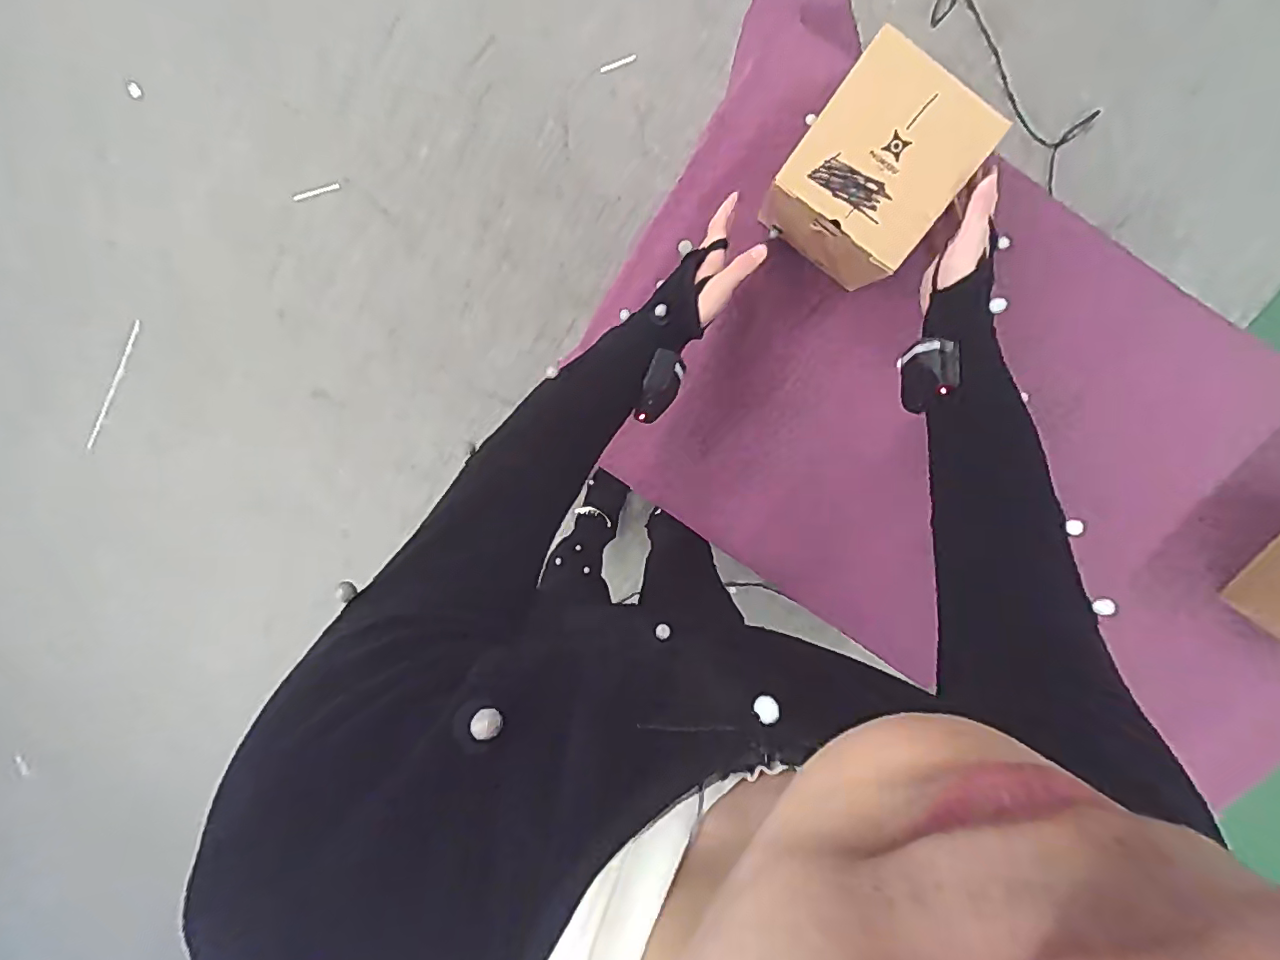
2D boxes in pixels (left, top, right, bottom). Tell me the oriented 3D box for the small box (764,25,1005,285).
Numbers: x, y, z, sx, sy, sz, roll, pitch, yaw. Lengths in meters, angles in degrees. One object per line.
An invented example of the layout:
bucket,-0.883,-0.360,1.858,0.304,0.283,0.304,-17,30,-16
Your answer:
small box,0.263,-0.355,0.636,0.168,0.176,0.179,37,103,-3

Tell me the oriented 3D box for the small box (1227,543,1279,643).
small box,0.928,0.157,0.676,0.168,0.176,0.179,34,102,-1
